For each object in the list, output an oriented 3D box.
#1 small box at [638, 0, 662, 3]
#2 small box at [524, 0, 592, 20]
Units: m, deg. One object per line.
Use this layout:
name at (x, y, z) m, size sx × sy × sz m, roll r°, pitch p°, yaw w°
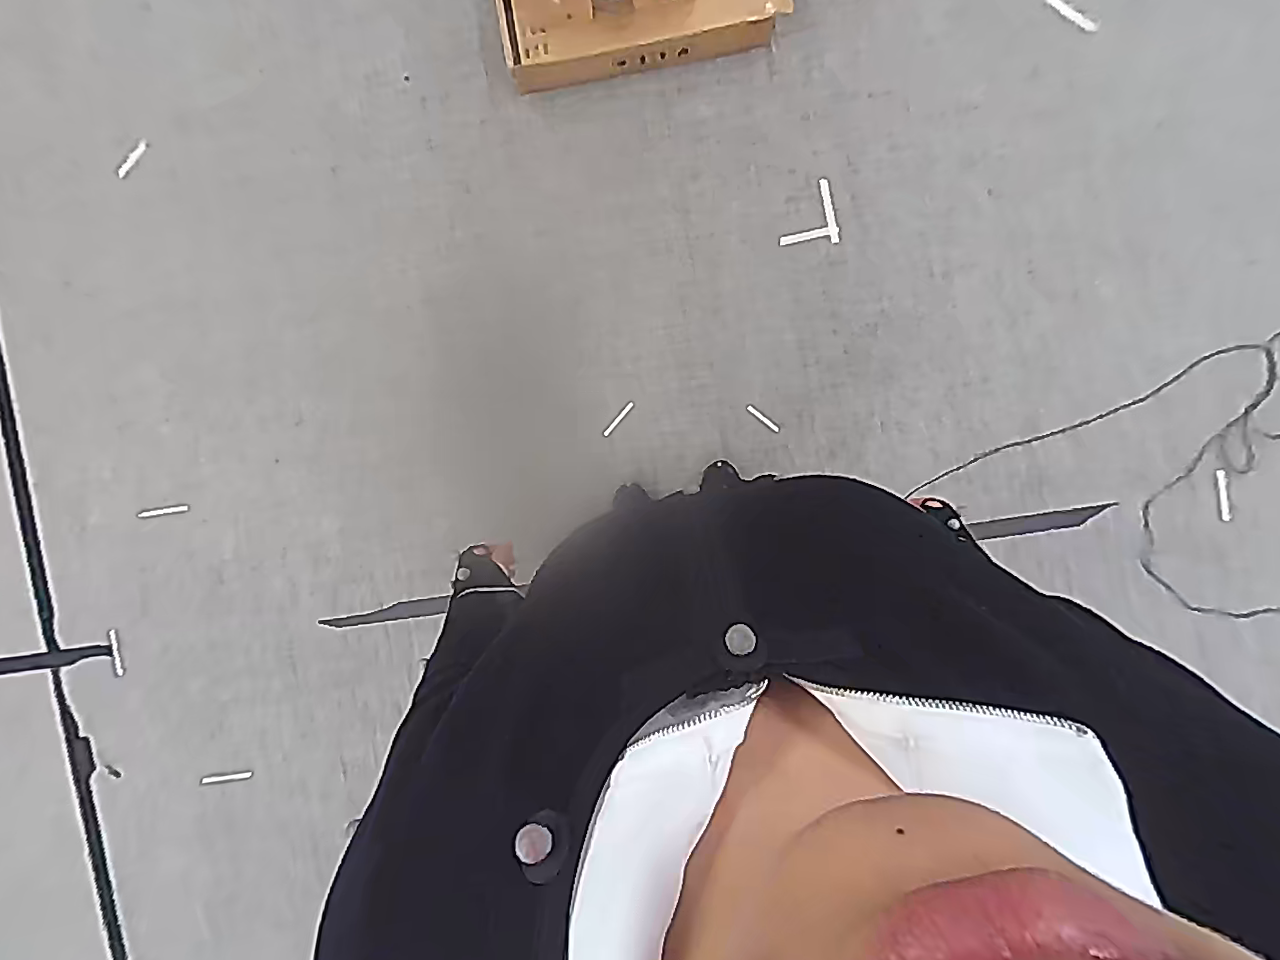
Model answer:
small box at (0.052, -1.294, 1.280) m, size 0.168 × 0.176 × 0.179 m, roll -6°, pitch 92°, yaw 4°
small box at (-0.213, -1.251, 1.292) m, size 0.168 × 0.176 × 0.179 m, roll -8°, pitch 92°, yaw 3°
